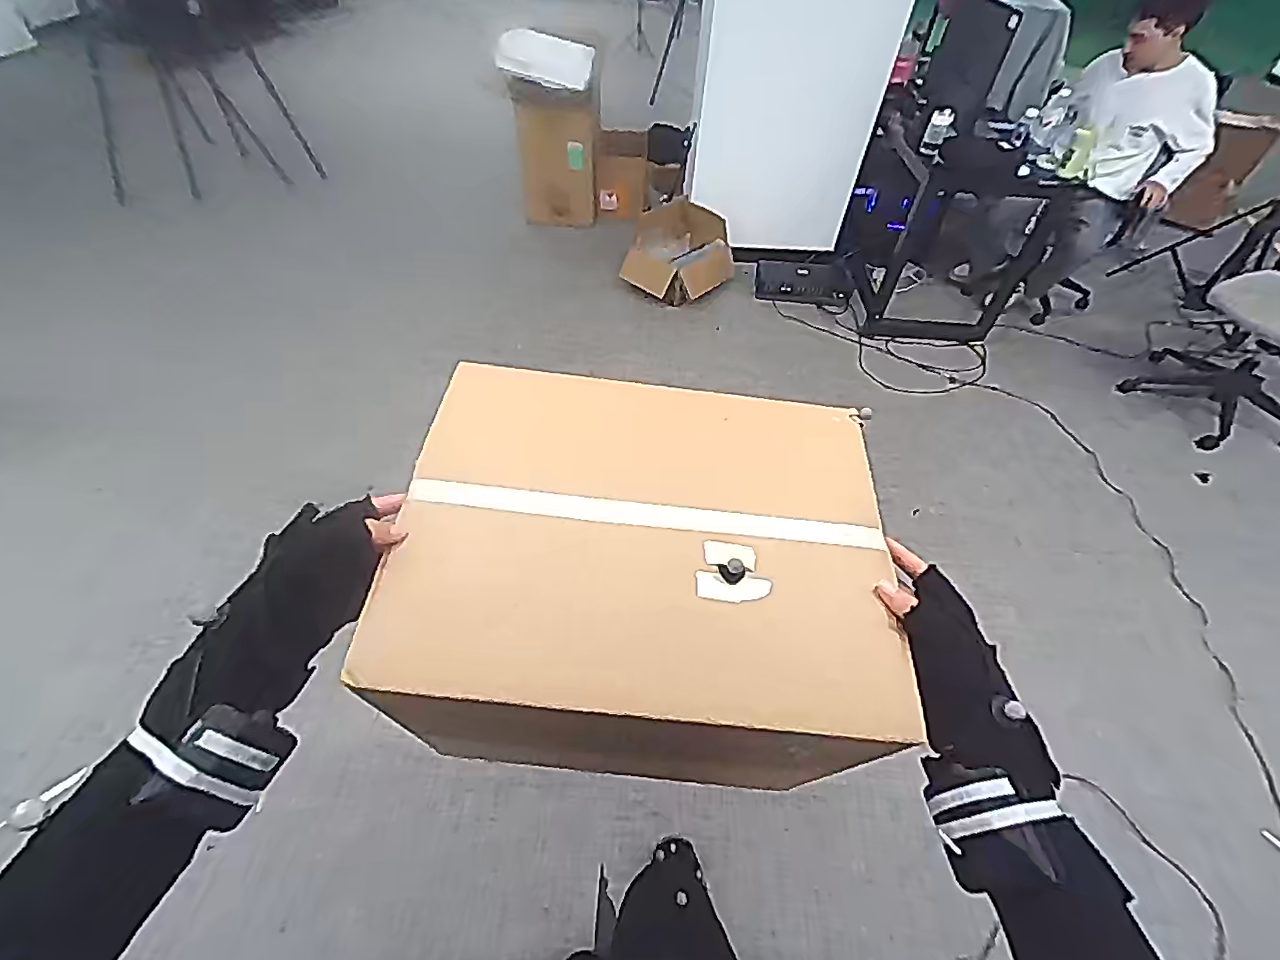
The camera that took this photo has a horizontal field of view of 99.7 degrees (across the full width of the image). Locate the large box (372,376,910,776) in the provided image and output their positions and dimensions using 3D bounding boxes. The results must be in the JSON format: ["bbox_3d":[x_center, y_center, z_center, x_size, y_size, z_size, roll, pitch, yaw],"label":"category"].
[{"bbox_3d":[-0.002,0.121,0.596,0.408,0.320,0.320,7,55,-2],"label":"large box"}]
